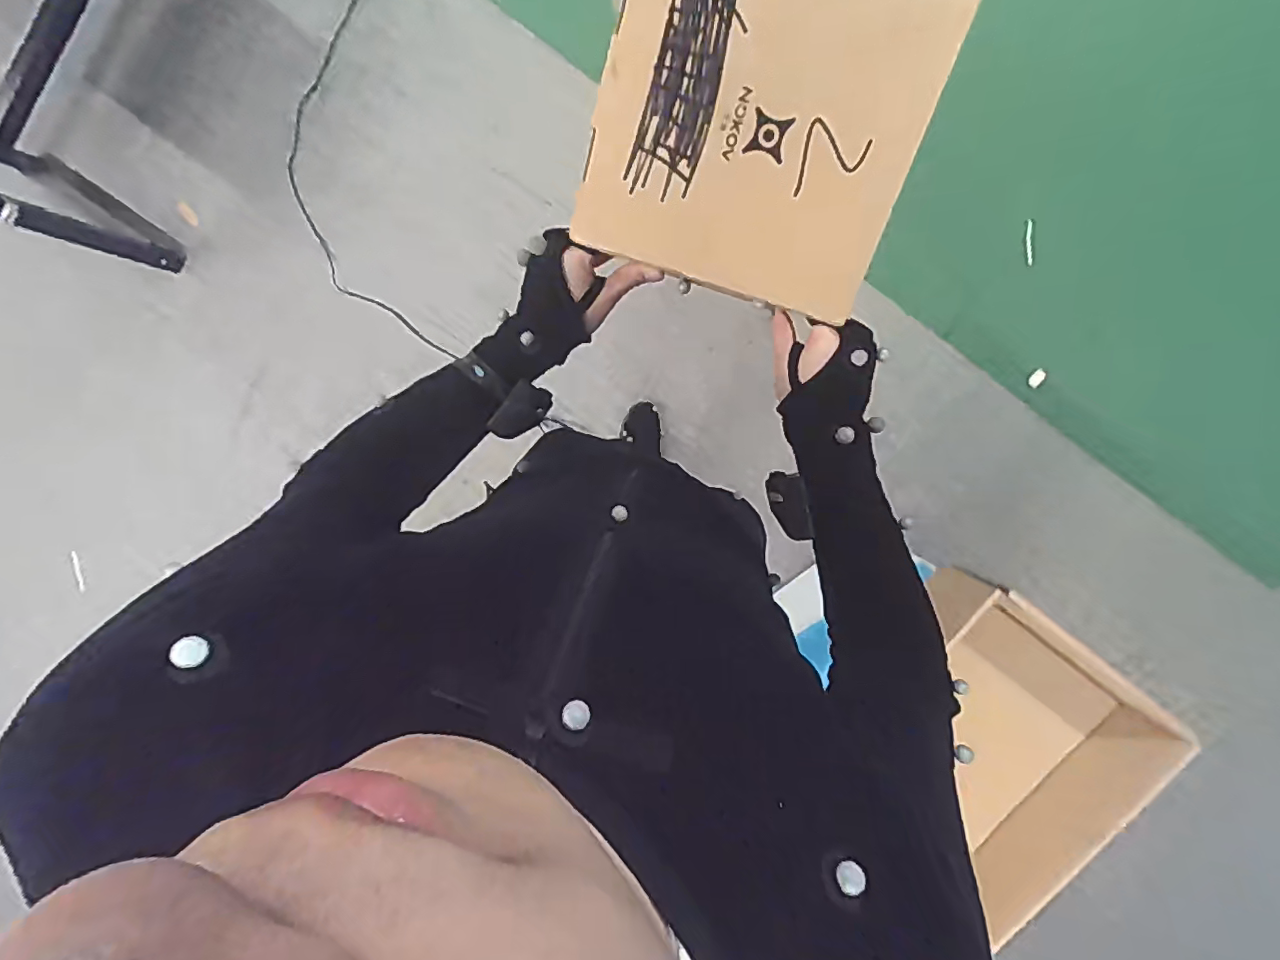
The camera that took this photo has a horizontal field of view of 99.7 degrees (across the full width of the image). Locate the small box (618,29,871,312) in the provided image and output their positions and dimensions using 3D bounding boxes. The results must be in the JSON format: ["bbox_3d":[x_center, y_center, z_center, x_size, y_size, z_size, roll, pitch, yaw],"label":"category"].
[{"bbox_3d":[0.089,-0.277,0.526,0.168,0.176,0.179,18,110,1],"label":"small box"}]
